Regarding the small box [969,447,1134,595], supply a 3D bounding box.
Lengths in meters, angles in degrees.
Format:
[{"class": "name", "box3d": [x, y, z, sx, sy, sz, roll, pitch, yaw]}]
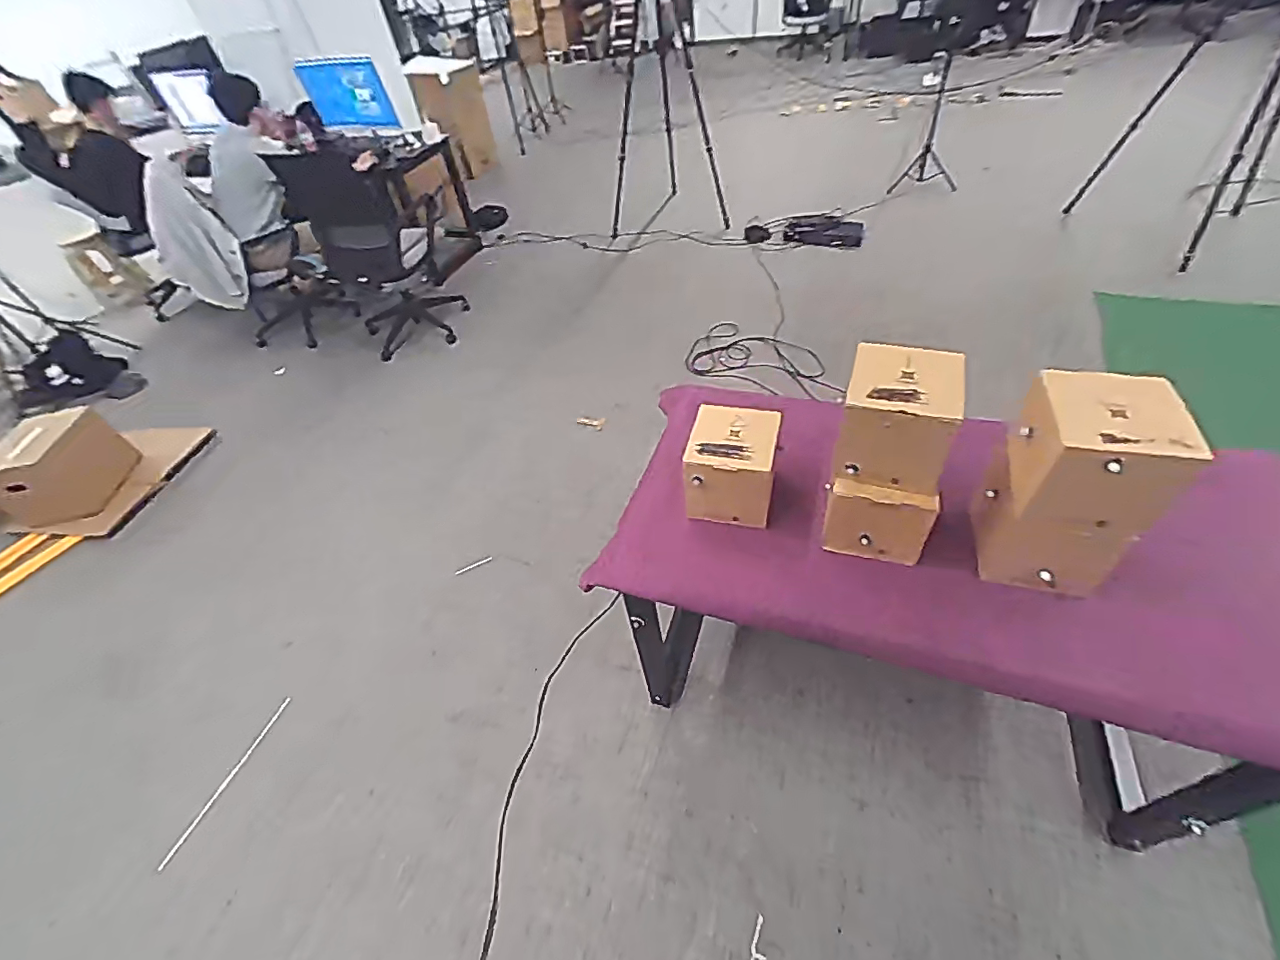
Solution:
[{"class": "small box", "box3d": [0.689, 0.070, 0.934, 0.168, 0.176, 0.179, 8, 49, 16]}]

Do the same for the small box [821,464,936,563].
[{"class": "small box", "box3d": [0.441, 0.027, 1.015, 0.168, 0.176, 0.179, 9, 50, 16]}]

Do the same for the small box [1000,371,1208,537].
[{"class": "small box", "box3d": [0.673, -0.042, 0.816, 0.168, 0.176, 0.179, 7, 48, 16]}]

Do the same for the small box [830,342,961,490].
[{"class": "small box", "box3d": [0.427, -0.108, 0.917, 0.168, 0.176, 0.179, 13, 50, 19]}]
